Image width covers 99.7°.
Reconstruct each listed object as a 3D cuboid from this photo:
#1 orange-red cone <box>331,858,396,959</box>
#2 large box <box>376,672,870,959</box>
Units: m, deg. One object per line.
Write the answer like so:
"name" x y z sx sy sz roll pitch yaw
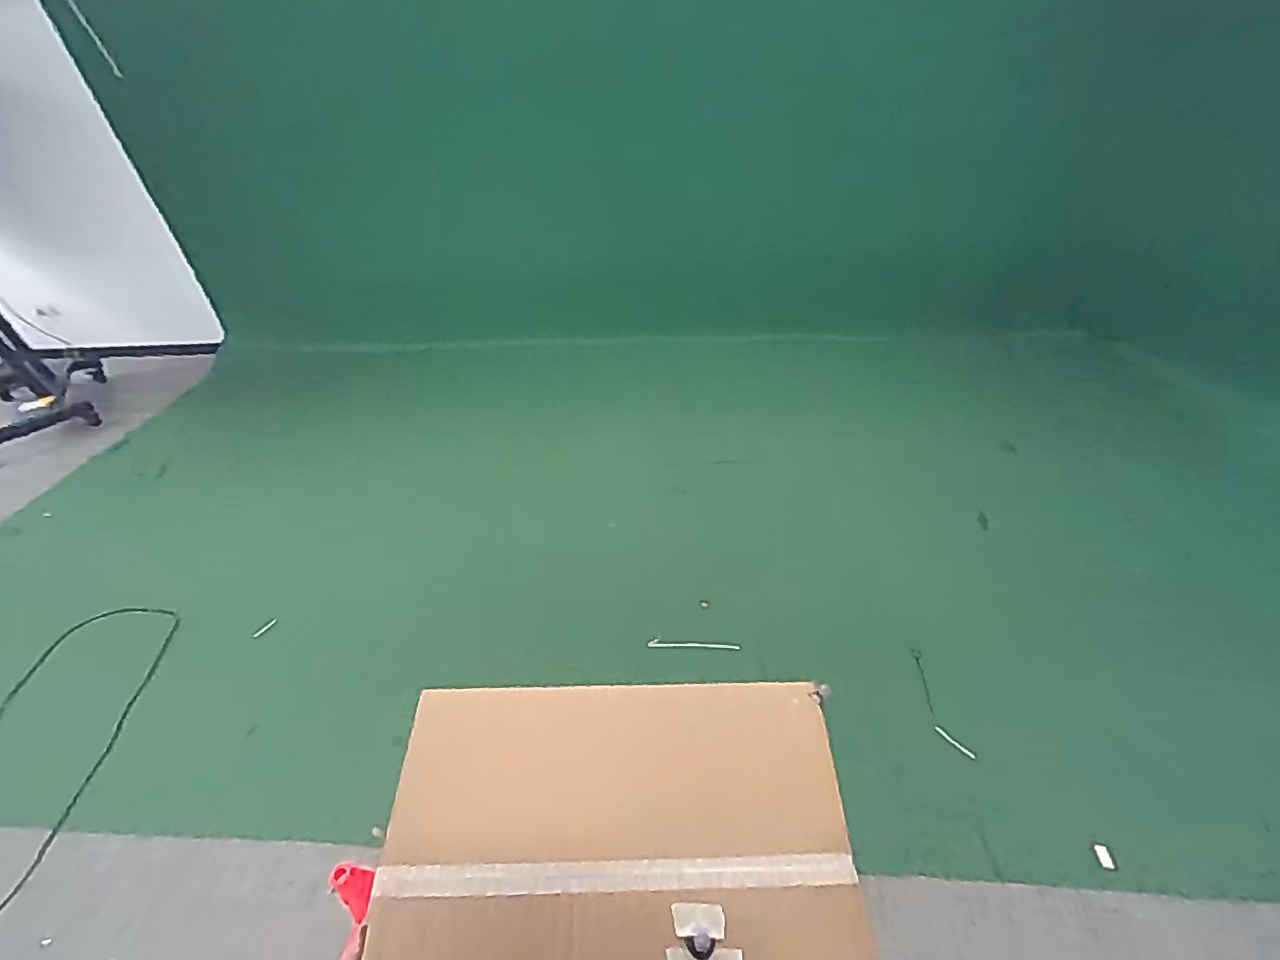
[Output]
"orange-red cone" -0.612 0.945 1.228 0.199 0.360 0.198 4 39 12
"large box" -0.017 0.421 0.591 0.408 0.320 0.320 -1 53 -1
